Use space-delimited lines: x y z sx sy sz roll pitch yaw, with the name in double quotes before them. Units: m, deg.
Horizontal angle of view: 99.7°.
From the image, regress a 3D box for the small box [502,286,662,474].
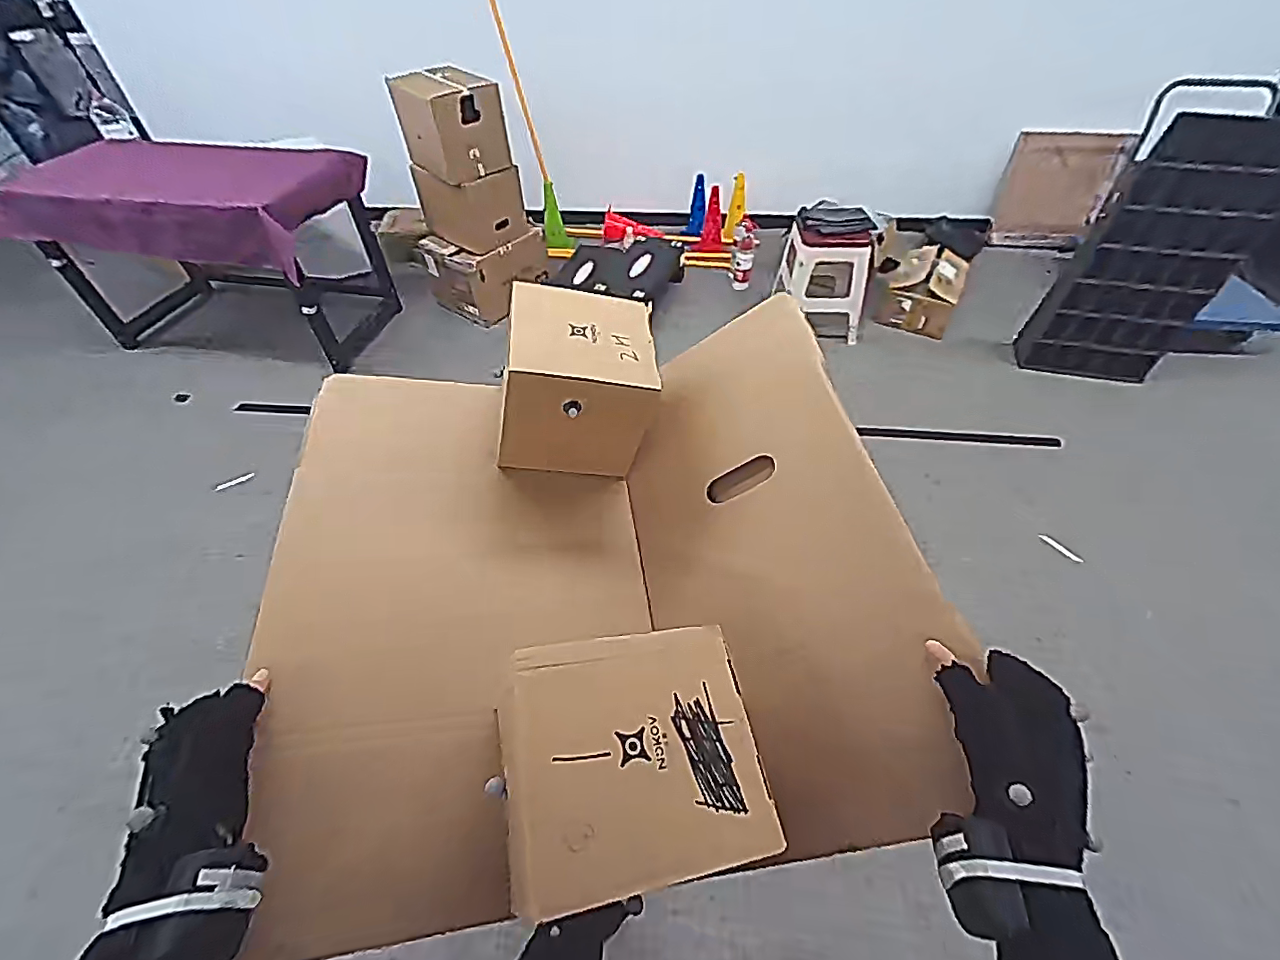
"small box" -0.084 -0.124 0.713 0.179 0.176 0.168 6 52 -16
